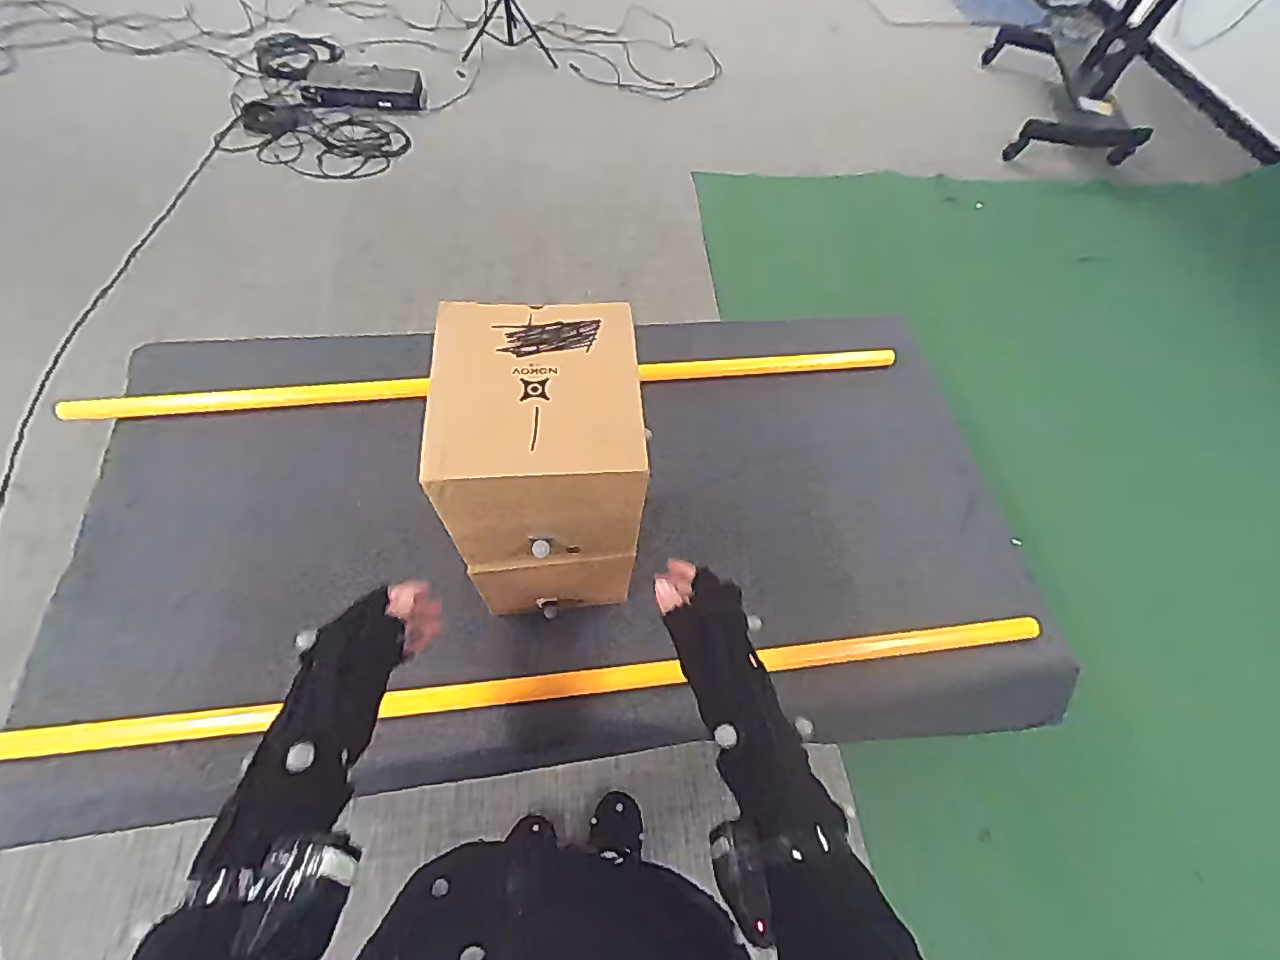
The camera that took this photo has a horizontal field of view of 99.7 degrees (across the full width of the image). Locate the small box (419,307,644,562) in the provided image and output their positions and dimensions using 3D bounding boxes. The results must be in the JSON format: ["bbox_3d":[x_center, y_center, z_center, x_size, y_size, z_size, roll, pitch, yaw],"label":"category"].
[{"bbox_3d":[-0.090,-0.037,0.503,0.168,0.176,0.179,-2,61,-6],"label":"small box"}]

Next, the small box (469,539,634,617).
[{"bbox_3d":[-0.104,0.048,0.644,0.168,0.176,0.179,-6,63,-8],"label":"small box"}]
